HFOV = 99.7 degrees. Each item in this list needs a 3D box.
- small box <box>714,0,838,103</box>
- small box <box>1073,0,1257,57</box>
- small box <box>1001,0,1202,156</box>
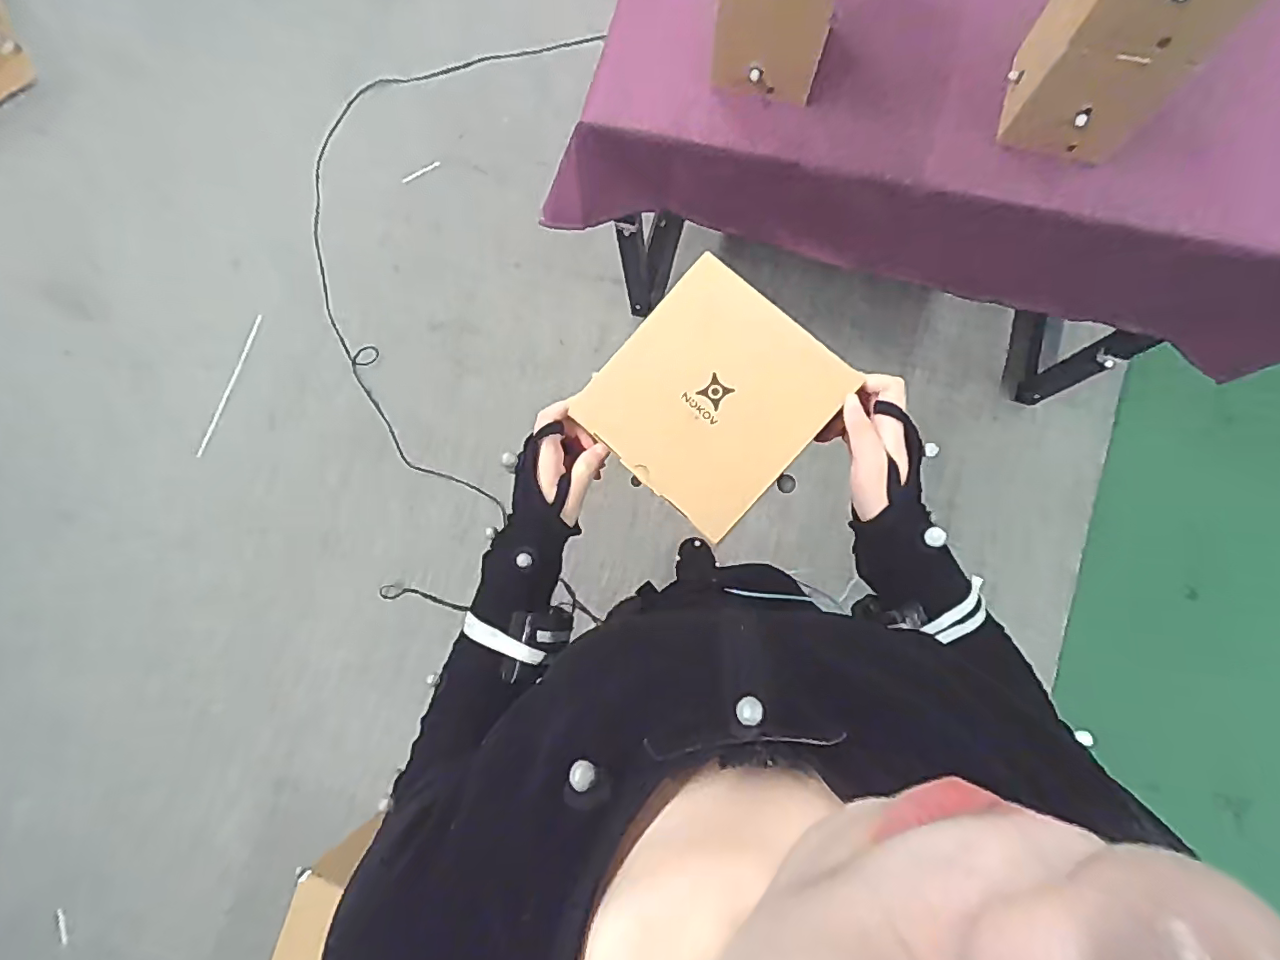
[{"bbox_3d":[0.218,-0.739,0.836,0.168,0.176,0.179,17,83,7],"label":"small box"},{"bbox_3d":[0.649,-0.642,0.623,0.168,0.176,0.179,16,82,6],"label":"small box"},{"bbox_3d":[0.664,-0.614,0.785,0.168,0.176,0.179,16,83,6],"label":"small box"}]
